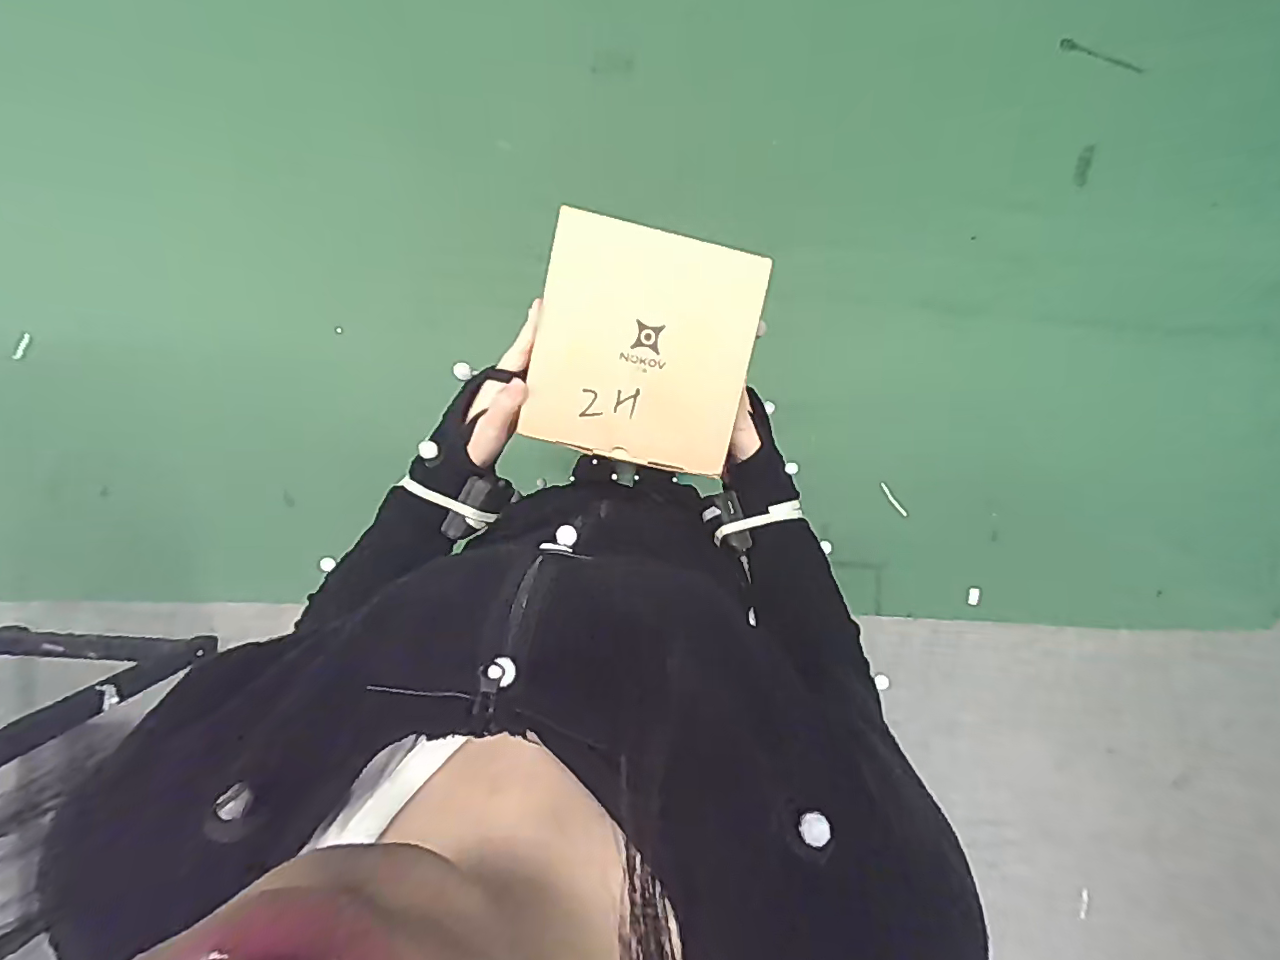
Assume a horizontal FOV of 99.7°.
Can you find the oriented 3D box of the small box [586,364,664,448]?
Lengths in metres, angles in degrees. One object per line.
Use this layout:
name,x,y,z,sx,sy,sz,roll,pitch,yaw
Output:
small box,-0.039,-0.164,1.239,0.168,0.176,0.179,1,94,-4
